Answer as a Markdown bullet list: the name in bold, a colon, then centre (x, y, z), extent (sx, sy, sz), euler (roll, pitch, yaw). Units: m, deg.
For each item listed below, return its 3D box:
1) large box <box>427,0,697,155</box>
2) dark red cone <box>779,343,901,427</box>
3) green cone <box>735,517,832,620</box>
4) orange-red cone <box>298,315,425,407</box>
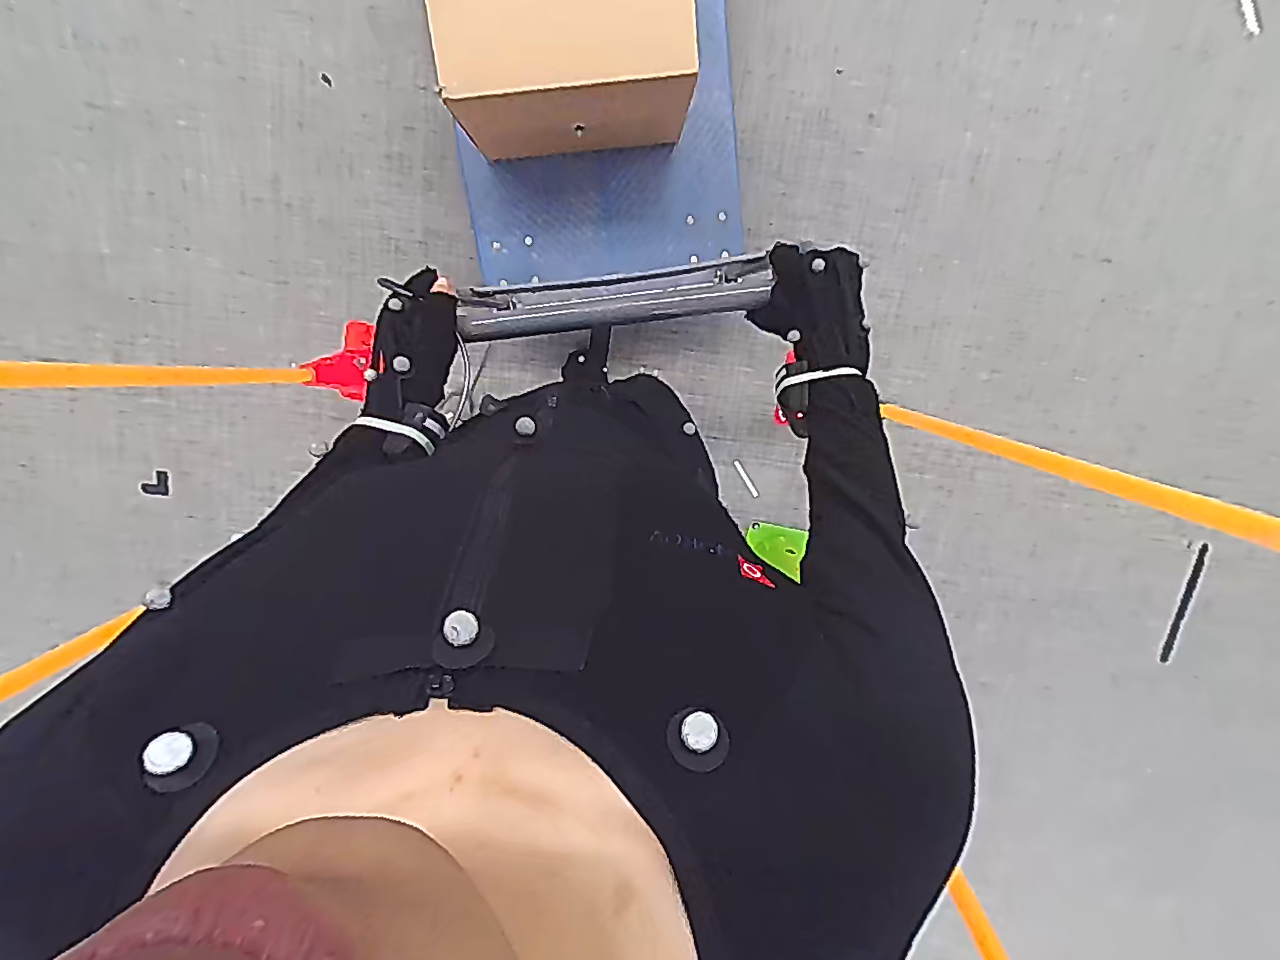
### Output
- **large box**: centre (-0.127, -0.800, 0.944), extent (0.408, 0.320, 0.320), euler (-6, 105, 0)
- **dark red cone**: centre (0.481, -0.205, 1.247), extent (0.201, 0.394, 0.202), euler (6, 104, -6)
- **green cone**: centre (0.395, 0.255, 1.379), extent (0.202, 0.368, 0.200), euler (10, 104, -6)
- **orange-red cone**: centre (-0.652, -0.262, 1.212), extent (0.198, 0.360, 0.199), euler (14, 102, -7)
